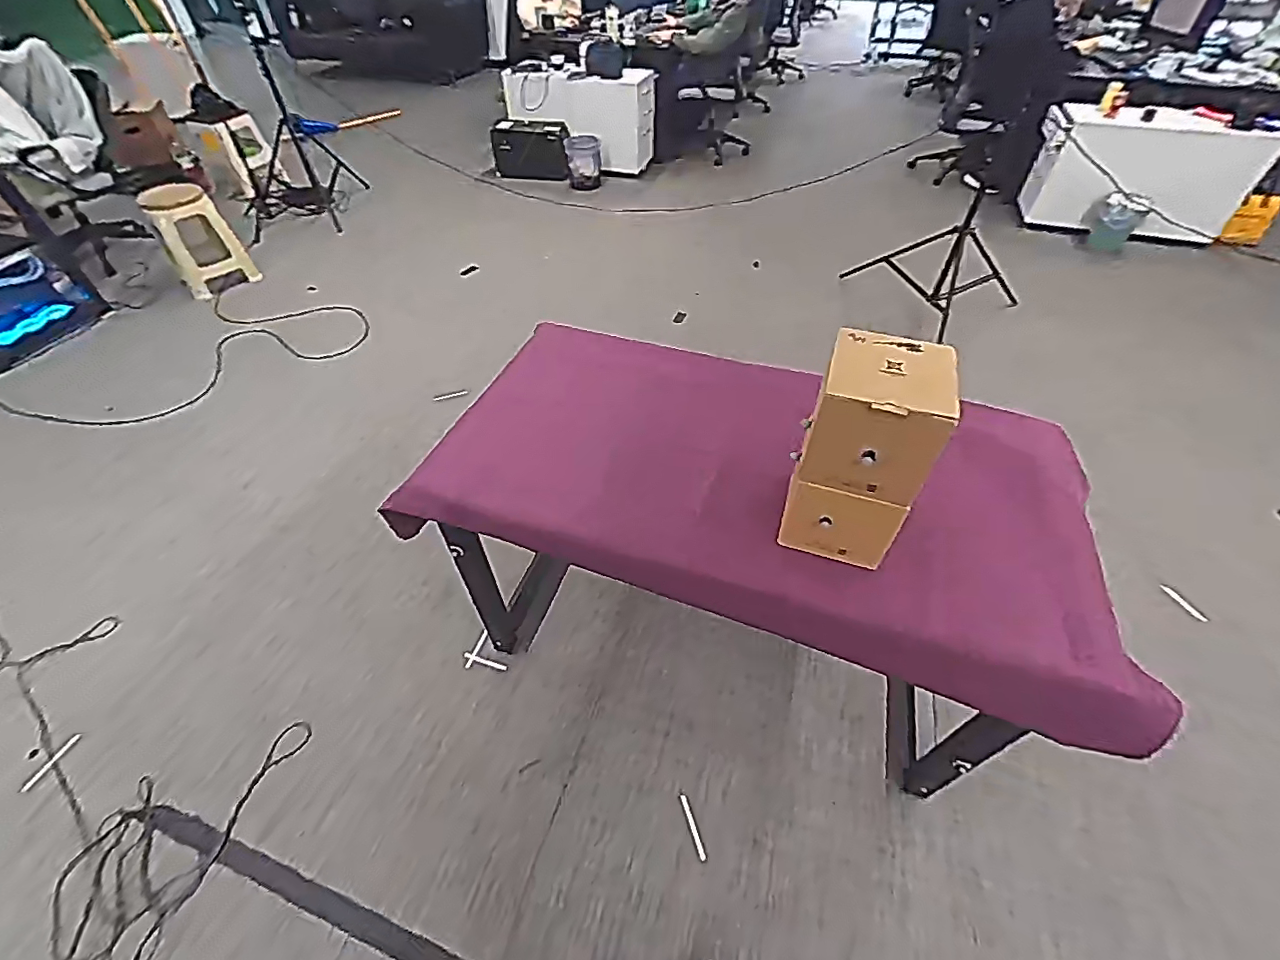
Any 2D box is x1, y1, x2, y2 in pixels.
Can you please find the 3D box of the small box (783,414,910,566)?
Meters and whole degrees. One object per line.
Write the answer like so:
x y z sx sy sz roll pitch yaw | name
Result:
0.347 0.018 0.917 0.168 0.176 0.179 14 49 13 | small box

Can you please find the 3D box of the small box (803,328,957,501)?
0.348 -0.096 0.799 0.168 0.176 0.179 15 49 14 | small box
